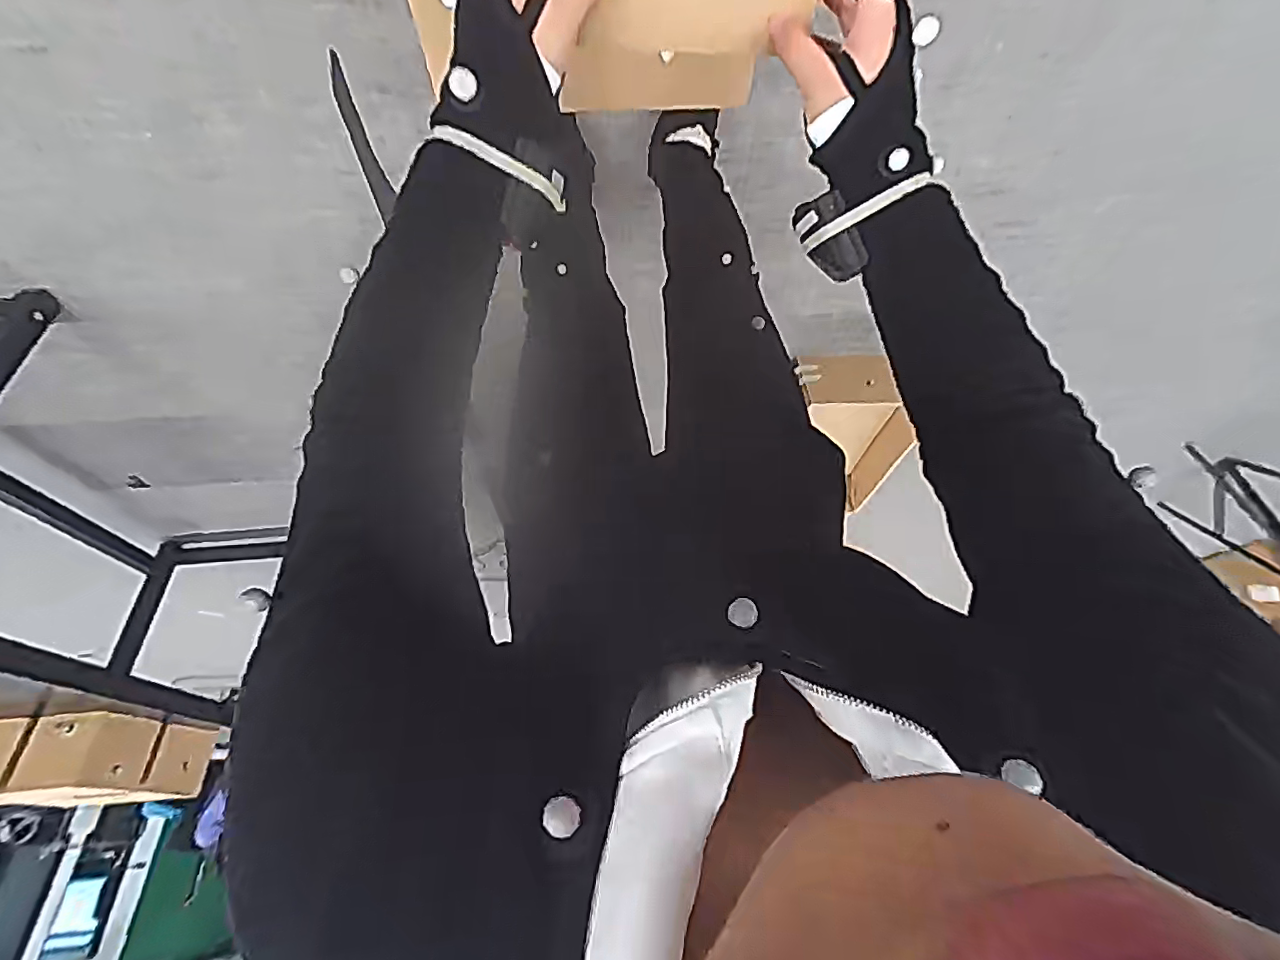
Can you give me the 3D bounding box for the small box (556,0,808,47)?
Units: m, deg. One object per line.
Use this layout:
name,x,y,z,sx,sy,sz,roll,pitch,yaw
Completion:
small box,0.032,-0.429,0.375,0.179,0.176,0.168,1,142,-3
